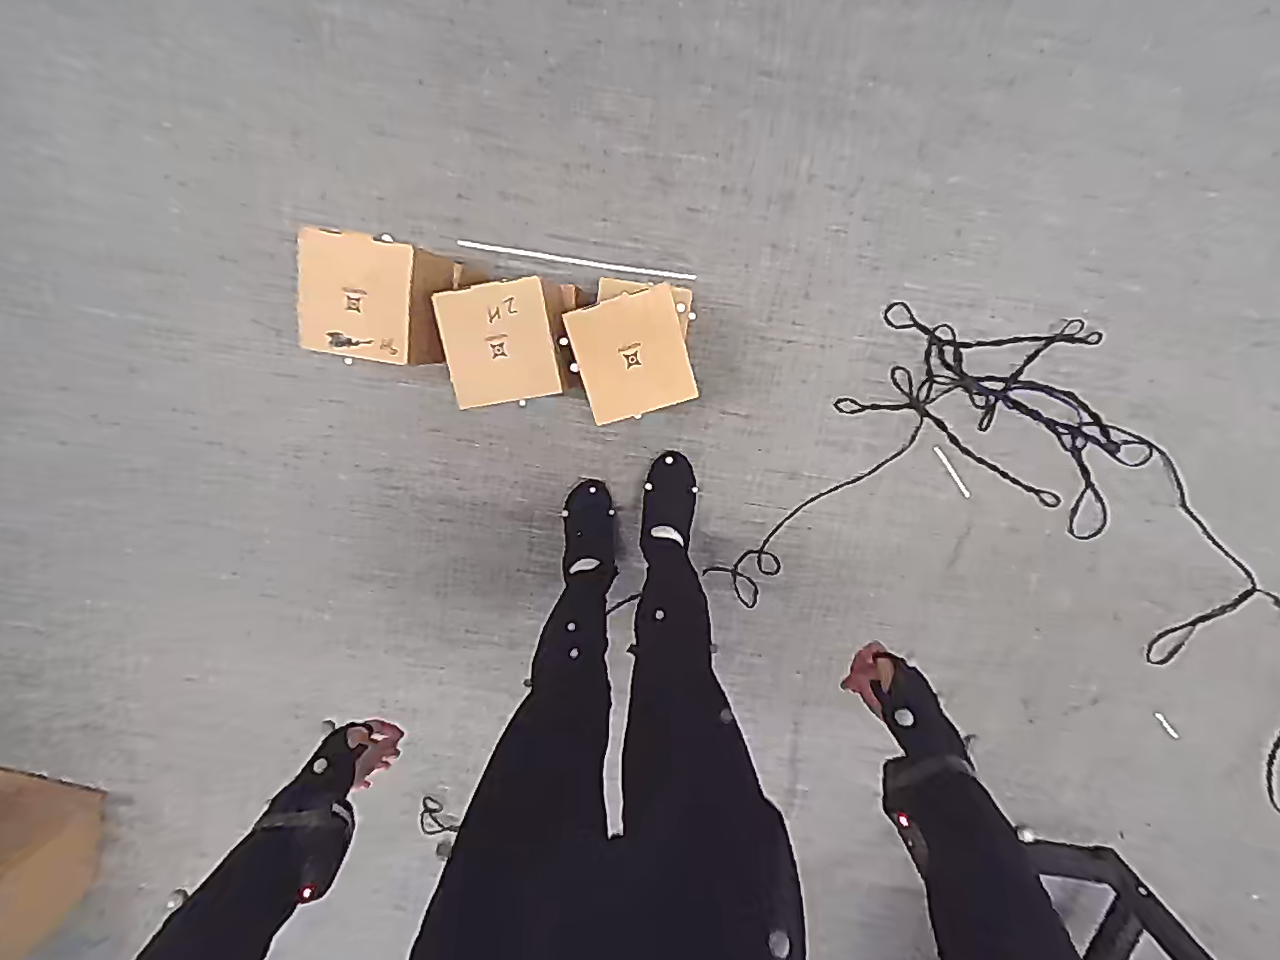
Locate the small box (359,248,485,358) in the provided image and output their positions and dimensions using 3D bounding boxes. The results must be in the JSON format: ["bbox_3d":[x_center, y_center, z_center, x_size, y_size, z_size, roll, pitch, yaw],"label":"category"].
[{"bbox_3d":[-0.404,-0.329,1.027,0.179,0.176,0.168,9,104,0],"label":"small box"}]

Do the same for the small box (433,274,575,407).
[{"bbox_3d":[-0.208,-0.225,0.882,0.168,0.176,0.179,-8,103,3],"label":"small box"}]

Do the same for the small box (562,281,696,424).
[{"bbox_3d":[-0.011,-0.207,0.880,0.168,0.176,0.179,-16,102,6],"label":"small box"}]
